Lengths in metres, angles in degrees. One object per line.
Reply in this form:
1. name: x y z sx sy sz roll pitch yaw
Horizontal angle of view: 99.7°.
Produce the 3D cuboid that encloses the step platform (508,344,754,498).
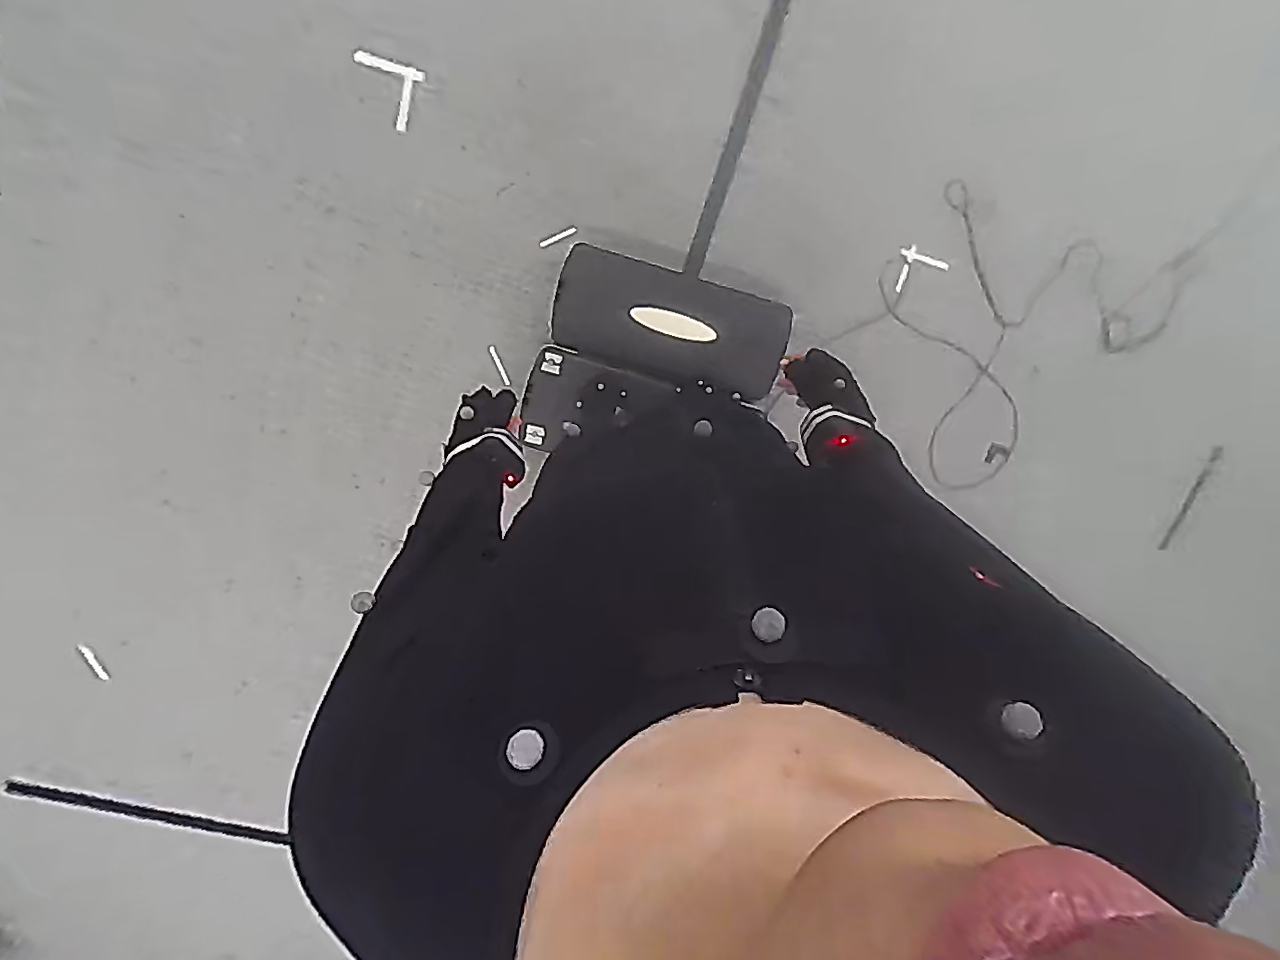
1. step platform: -0.024 -0.165 1.551 0.684 0.204 0.286 15 101 -6
